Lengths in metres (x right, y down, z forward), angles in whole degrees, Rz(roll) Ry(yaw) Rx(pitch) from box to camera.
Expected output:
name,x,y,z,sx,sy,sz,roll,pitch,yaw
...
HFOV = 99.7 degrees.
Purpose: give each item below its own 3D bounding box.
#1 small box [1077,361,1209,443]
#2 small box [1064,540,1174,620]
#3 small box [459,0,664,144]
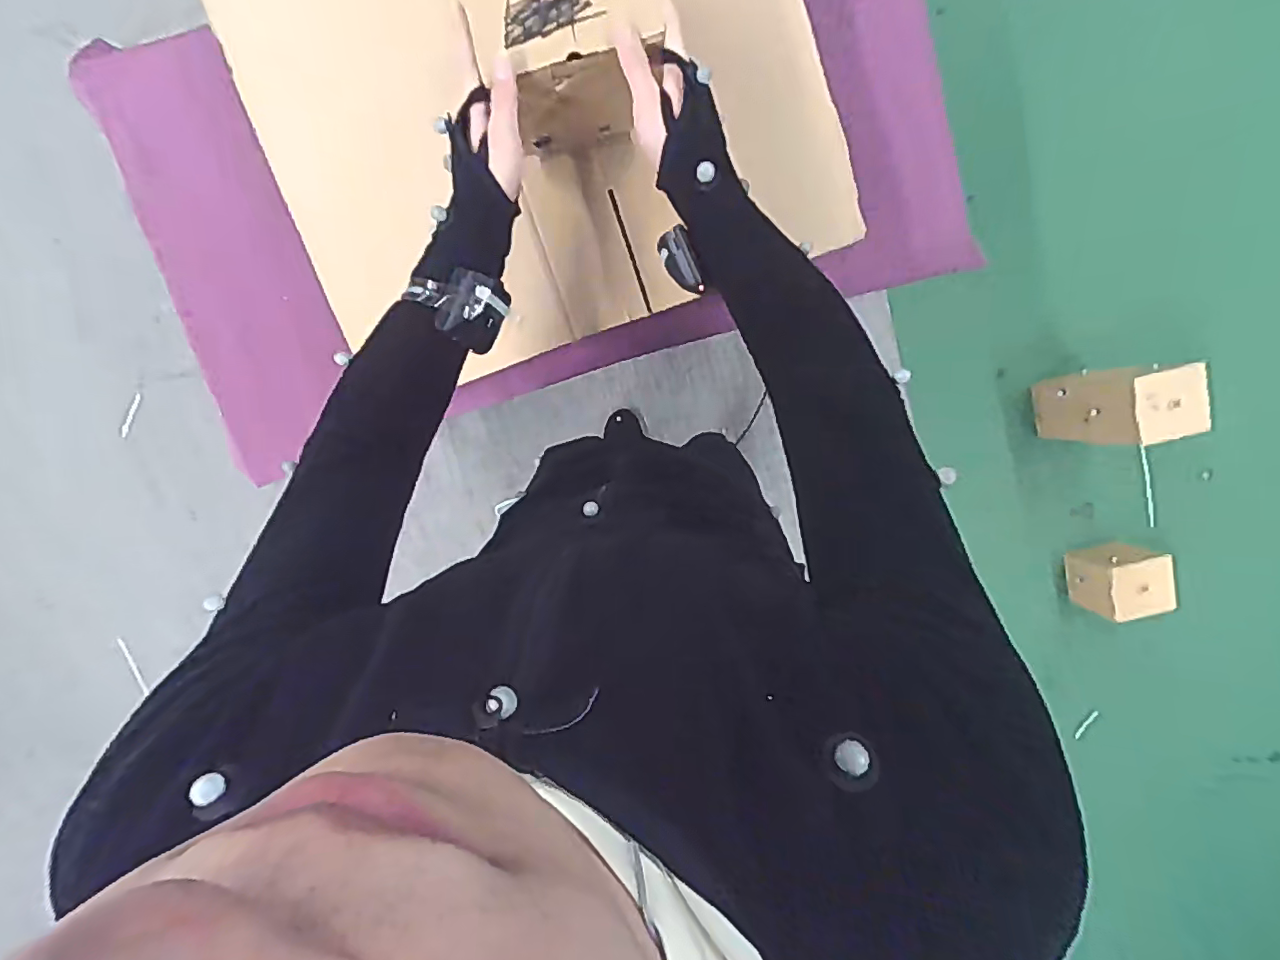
name,x,y,z,sx,sy,sz,roll,pitch,yaw
small box,1.258,-0.197,1.361,0.179,0.176,0.168,-13,98,1
small box,1.415,0.289,1.603,0.179,0.176,0.168,-14,99,2
small box,-0.077,-0.452,0.516,0.168,0.176,0.179,-14,101,1
